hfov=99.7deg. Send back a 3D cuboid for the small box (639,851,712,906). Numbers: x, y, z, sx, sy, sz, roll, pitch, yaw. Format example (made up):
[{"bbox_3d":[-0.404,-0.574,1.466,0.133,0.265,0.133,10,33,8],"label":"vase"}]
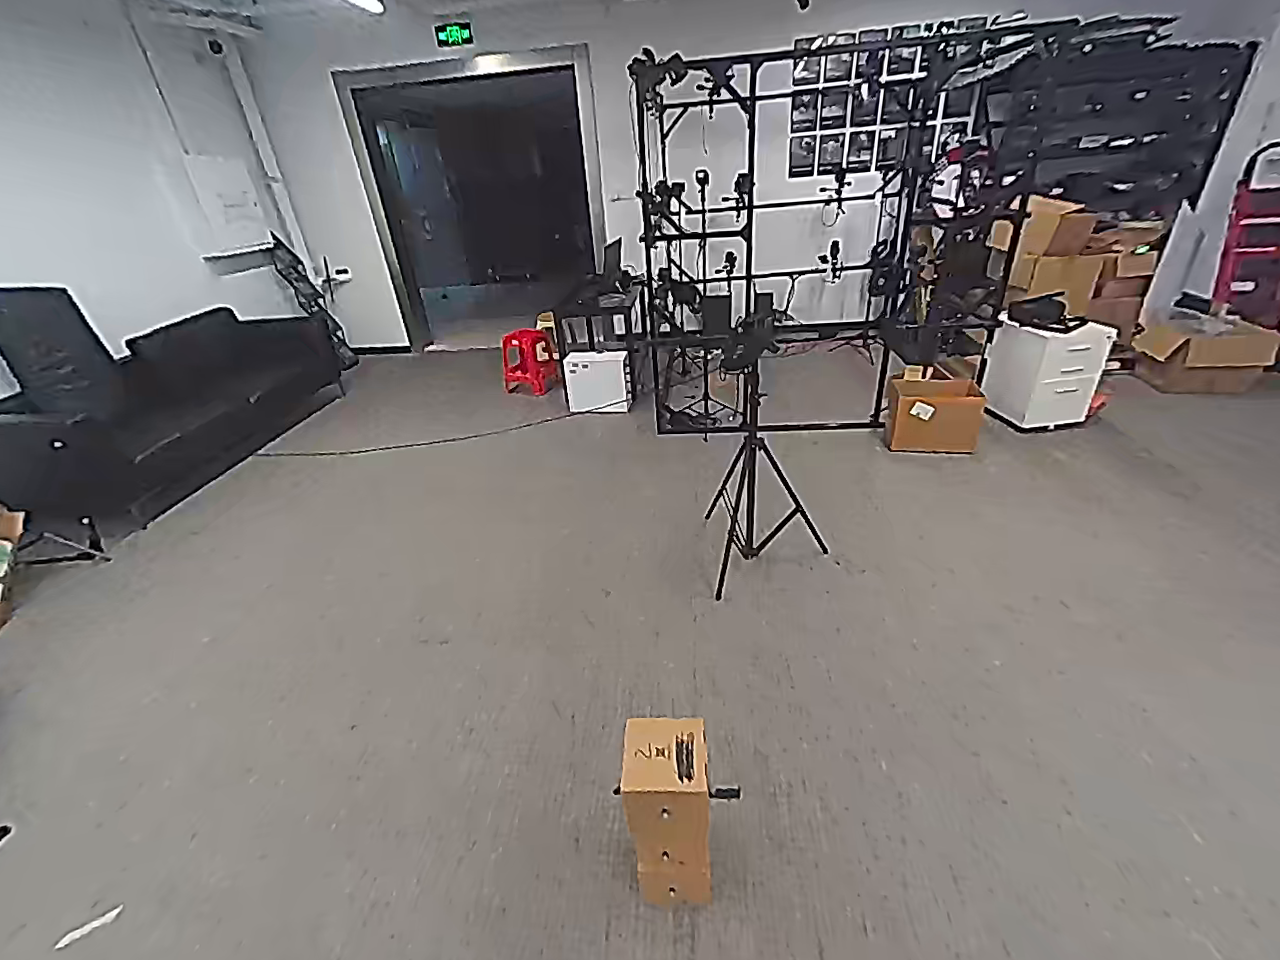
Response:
[{"bbox_3d":[0.091,0.921,1.342,0.168,0.176,0.179,-2,29,5],"label":"small box"}]

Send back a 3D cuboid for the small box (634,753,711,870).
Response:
[{"bbox_3d":[0.082,0.775,1.269,0.168,0.176,0.179,-2,30,7],"label":"small box"}]
